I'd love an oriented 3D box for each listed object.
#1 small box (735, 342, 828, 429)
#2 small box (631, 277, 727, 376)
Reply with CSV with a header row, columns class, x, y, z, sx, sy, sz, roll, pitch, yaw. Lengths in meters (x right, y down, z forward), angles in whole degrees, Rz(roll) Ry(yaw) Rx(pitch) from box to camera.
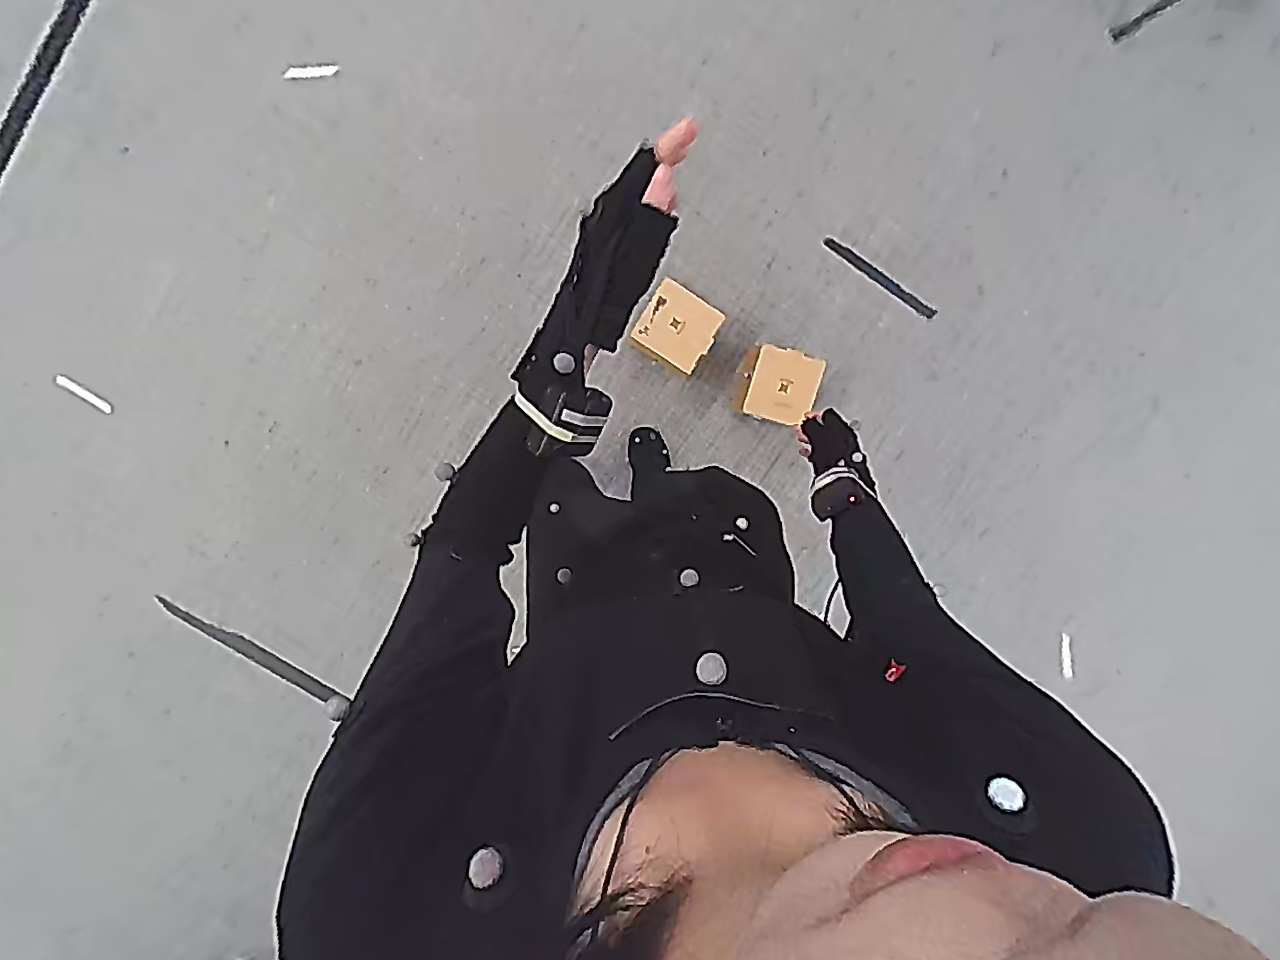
class,x,y,z,sx,sy,sz,roll,pitch,yaw
small box,0.353,-0.239,1.389,0.168,0.176,0.179,16,98,-3
small box,0.092,-0.377,1.362,0.179,0.176,0.168,33,96,-6
